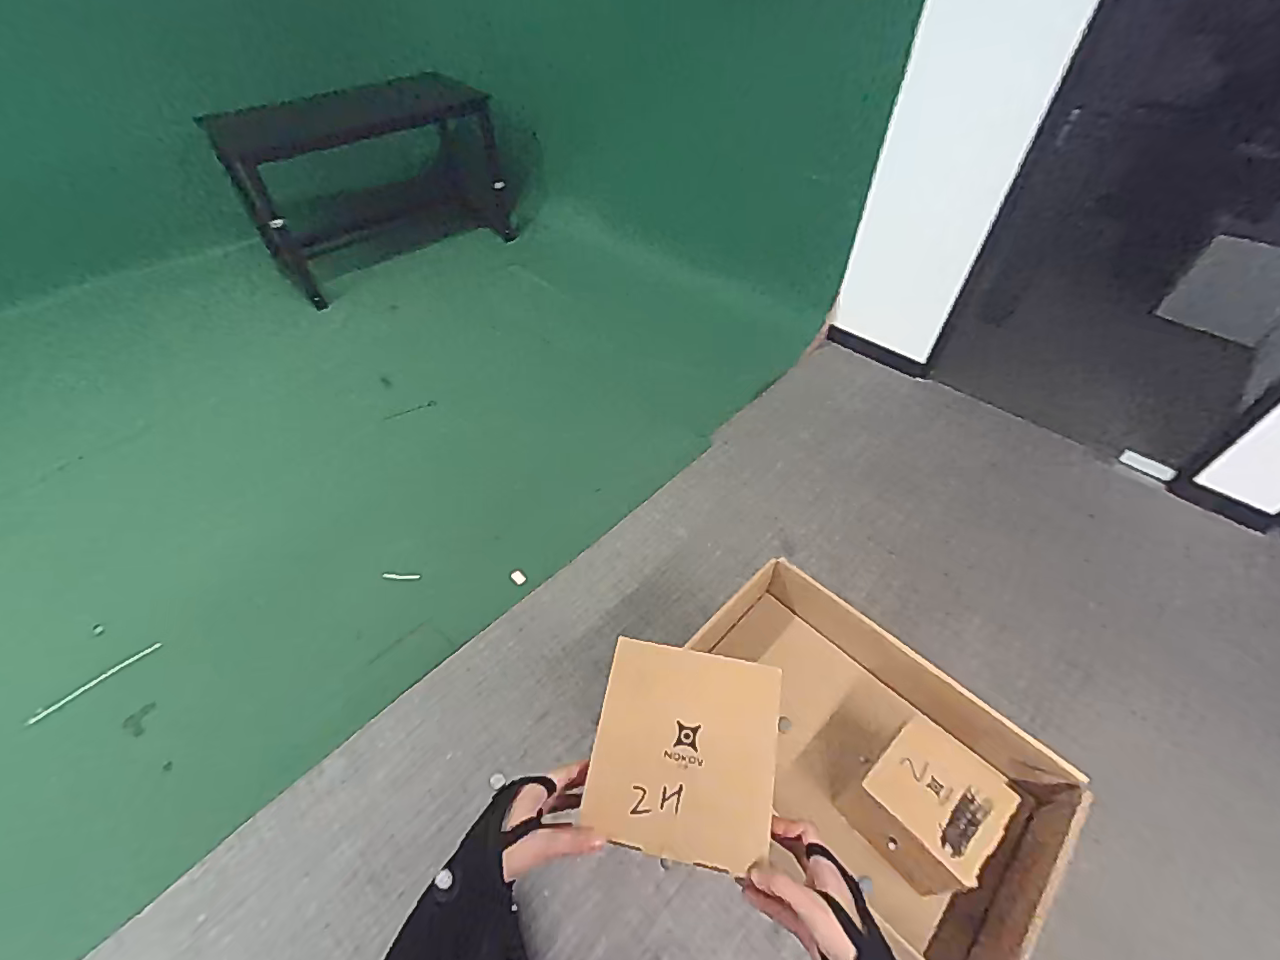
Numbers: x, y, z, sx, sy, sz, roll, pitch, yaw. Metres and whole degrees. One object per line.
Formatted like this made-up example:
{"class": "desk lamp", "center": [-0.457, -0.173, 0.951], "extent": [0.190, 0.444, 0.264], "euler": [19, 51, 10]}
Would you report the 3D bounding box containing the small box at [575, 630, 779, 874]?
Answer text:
{"class": "small box", "center": [0.044, 0.278, 0.562], "extent": [0.168, 0.176, 0.179], "euler": [7, 60, 10]}
